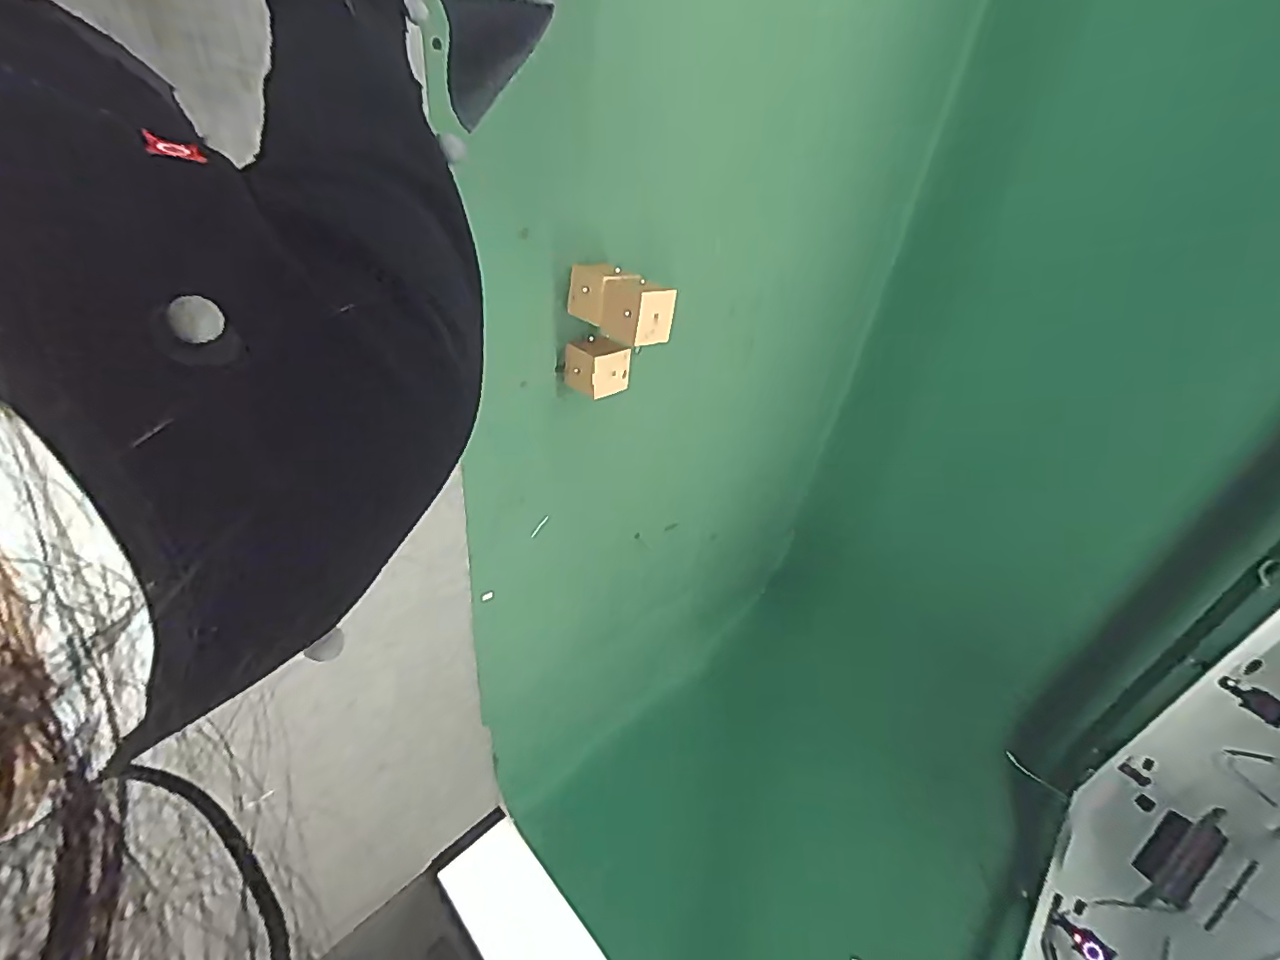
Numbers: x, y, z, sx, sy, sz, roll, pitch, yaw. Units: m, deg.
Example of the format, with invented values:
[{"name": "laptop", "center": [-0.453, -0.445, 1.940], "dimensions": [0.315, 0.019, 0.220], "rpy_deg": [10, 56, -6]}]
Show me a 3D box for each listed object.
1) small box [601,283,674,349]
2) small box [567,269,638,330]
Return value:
[{"name": "small box", "center": [-0.013, -0.550, 1.792], "dimensions": [0.168, 0.176, 0.179], "rpy_deg": [-21, 132, -42]}, {"name": "small box", "center": [-0.135, -0.628, 1.872], "dimensions": [0.179, 0.176, 0.168], "rpy_deg": [-20, 132, -43]}]
